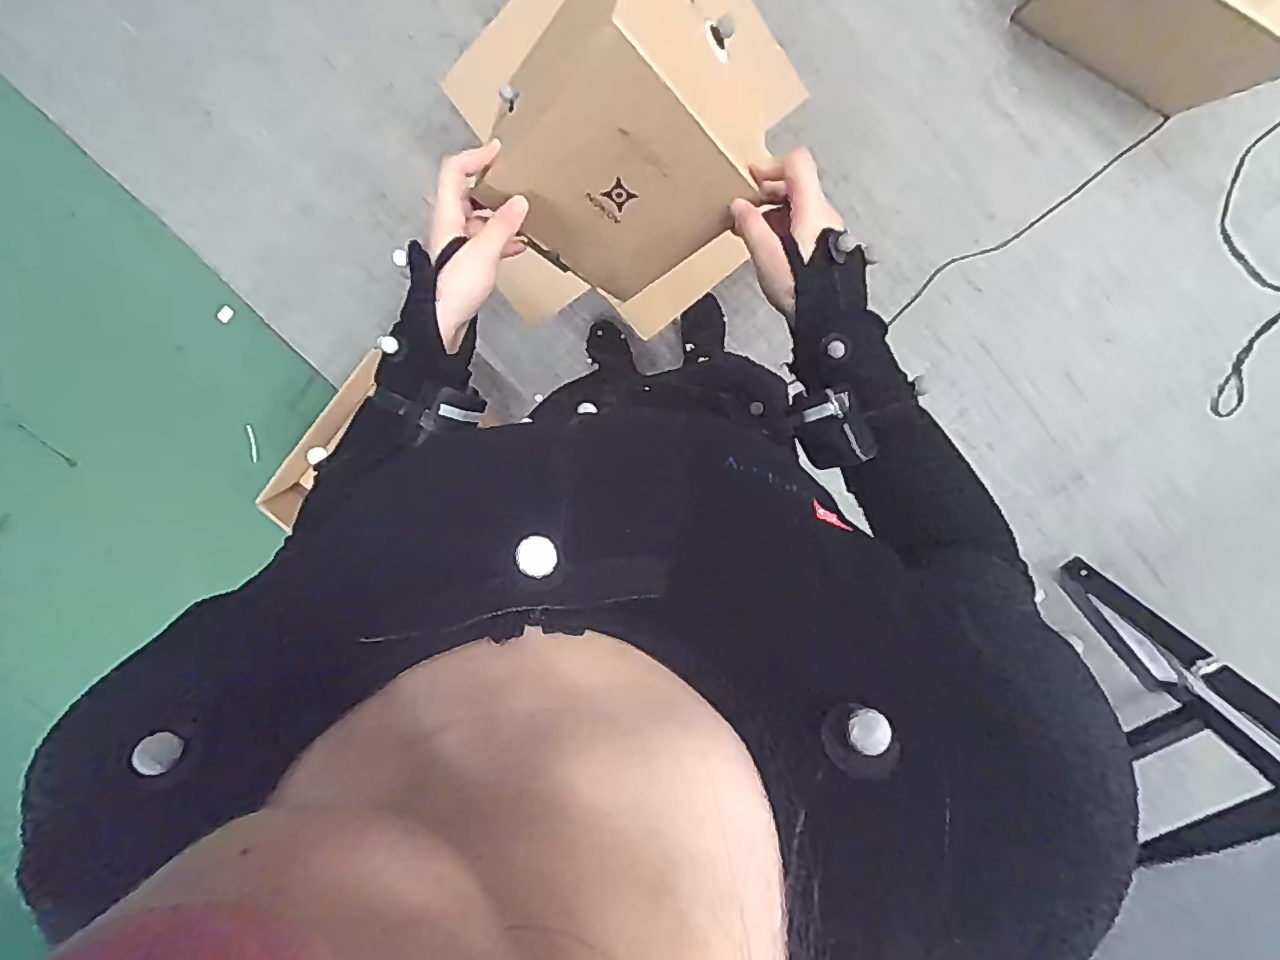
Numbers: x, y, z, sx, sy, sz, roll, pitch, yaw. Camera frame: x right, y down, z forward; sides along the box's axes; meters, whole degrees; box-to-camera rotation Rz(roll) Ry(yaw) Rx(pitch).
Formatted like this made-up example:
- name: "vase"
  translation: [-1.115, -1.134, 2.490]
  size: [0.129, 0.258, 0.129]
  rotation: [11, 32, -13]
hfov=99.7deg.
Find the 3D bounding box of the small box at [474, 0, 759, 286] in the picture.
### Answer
- name: "small box"
  translation: [-0.015, -0.316, 0.469]
  size: [0.168, 0.176, 0.179]
  rotation: [26, 146, -38]
